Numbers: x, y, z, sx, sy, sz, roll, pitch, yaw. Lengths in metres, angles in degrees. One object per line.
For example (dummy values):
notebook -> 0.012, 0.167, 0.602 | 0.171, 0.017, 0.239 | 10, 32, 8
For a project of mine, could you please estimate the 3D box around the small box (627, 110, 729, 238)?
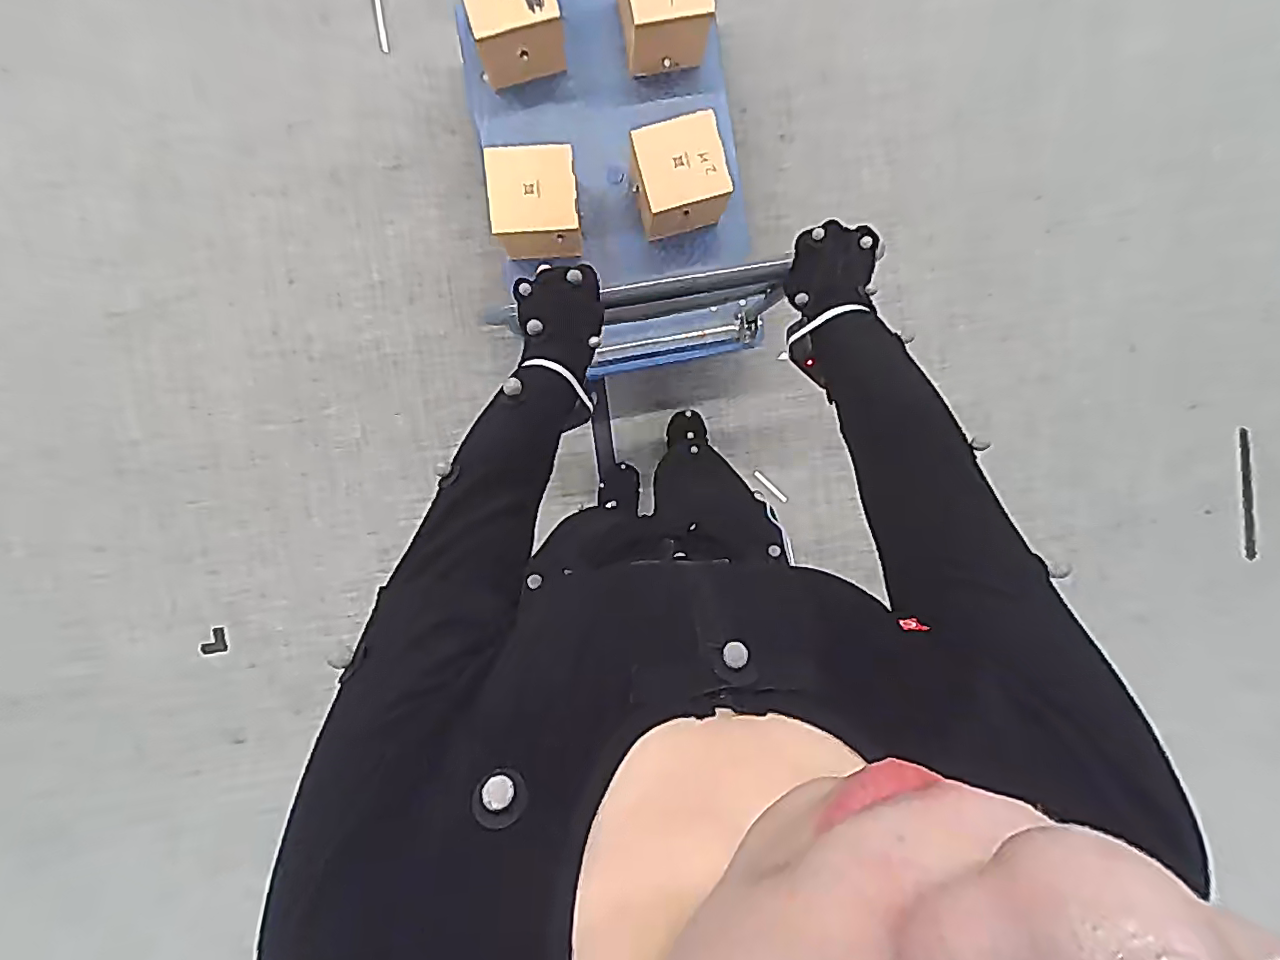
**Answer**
small box -> 0.077, -0.650, 1.171 | 0.179, 0.176, 0.168 | -16, 96, -1

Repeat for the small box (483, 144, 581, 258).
small box -> -0.224, -0.590, 1.162 | 0.179, 0.176, 0.168 | -5, 95, -4

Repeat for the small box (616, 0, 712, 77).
small box -> 0.044, -1.000, 1.136 | 0.168, 0.176, 0.179 | -11, 97, -2
